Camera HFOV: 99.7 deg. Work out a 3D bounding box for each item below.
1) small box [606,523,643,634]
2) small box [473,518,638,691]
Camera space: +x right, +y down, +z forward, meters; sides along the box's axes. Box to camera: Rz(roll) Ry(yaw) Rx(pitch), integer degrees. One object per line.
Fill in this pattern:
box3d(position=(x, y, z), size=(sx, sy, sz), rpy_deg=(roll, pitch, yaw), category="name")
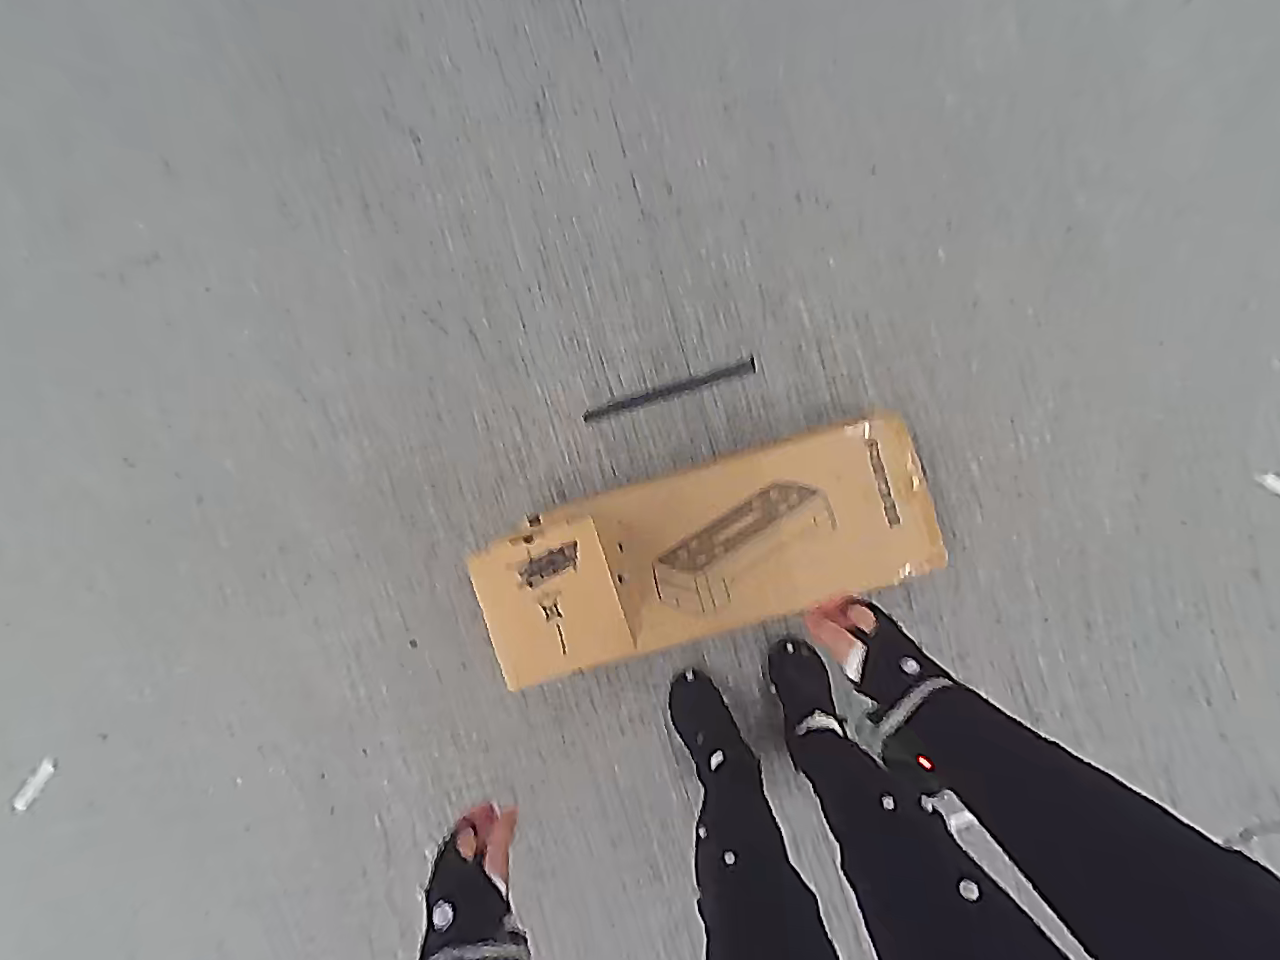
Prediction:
box3d(position=(-0.096, 0.176, 0.910), size=(0.168, 0.176, 0.179), rpy_deg=(-17, 88, 1), category="small box")
box3d(position=(-0.106, 0.157, 0.746), size=(0.168, 0.176, 0.179), rpy_deg=(-18, 89, 0), category="small box")
